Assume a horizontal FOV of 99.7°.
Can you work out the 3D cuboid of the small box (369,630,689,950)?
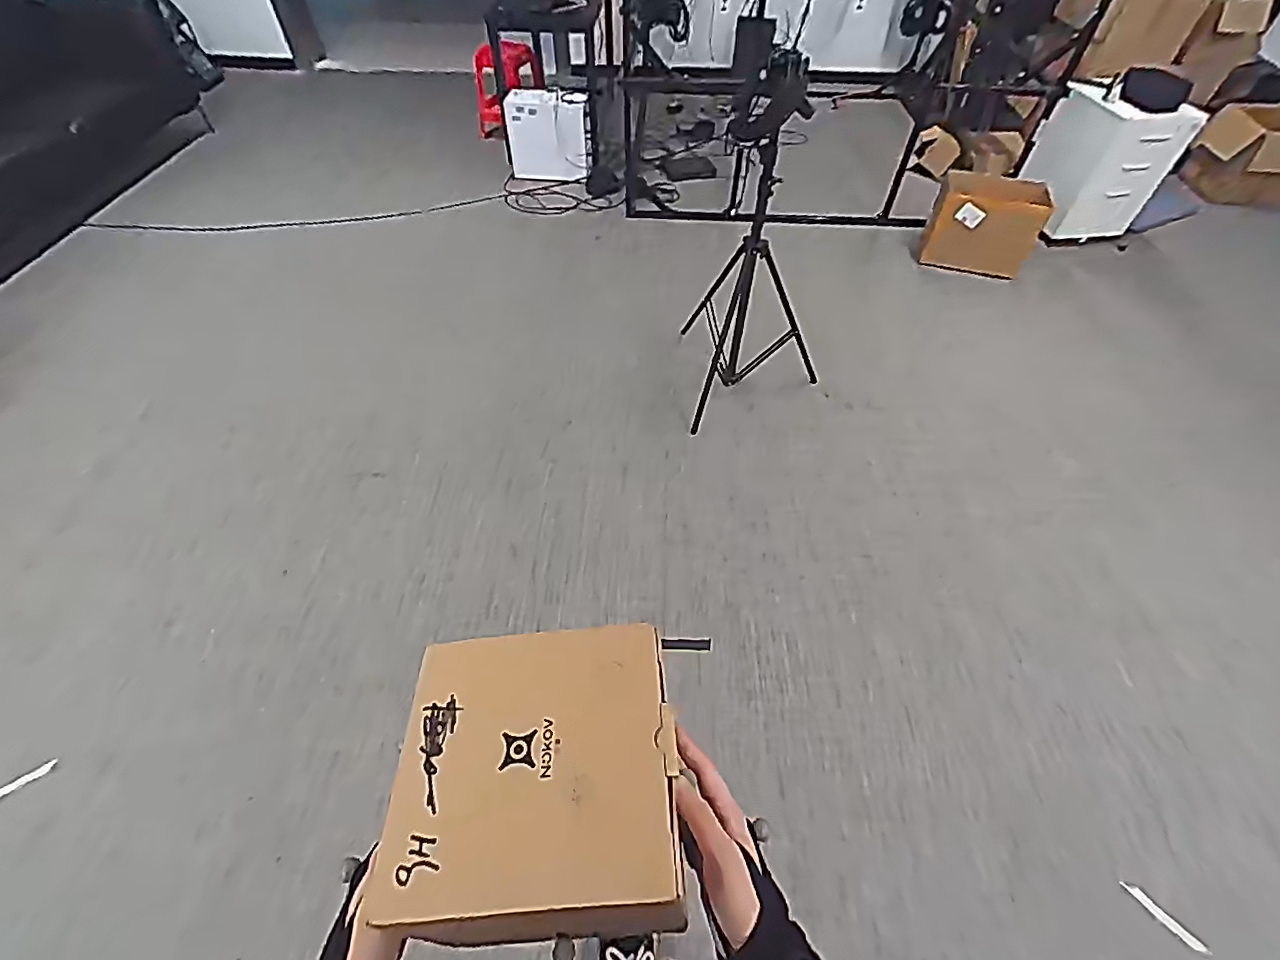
[{"bbox_3d":[-0.060,0.231,0.402,0.179,0.176,0.168,-6,45,1],"label":"small box"}]
